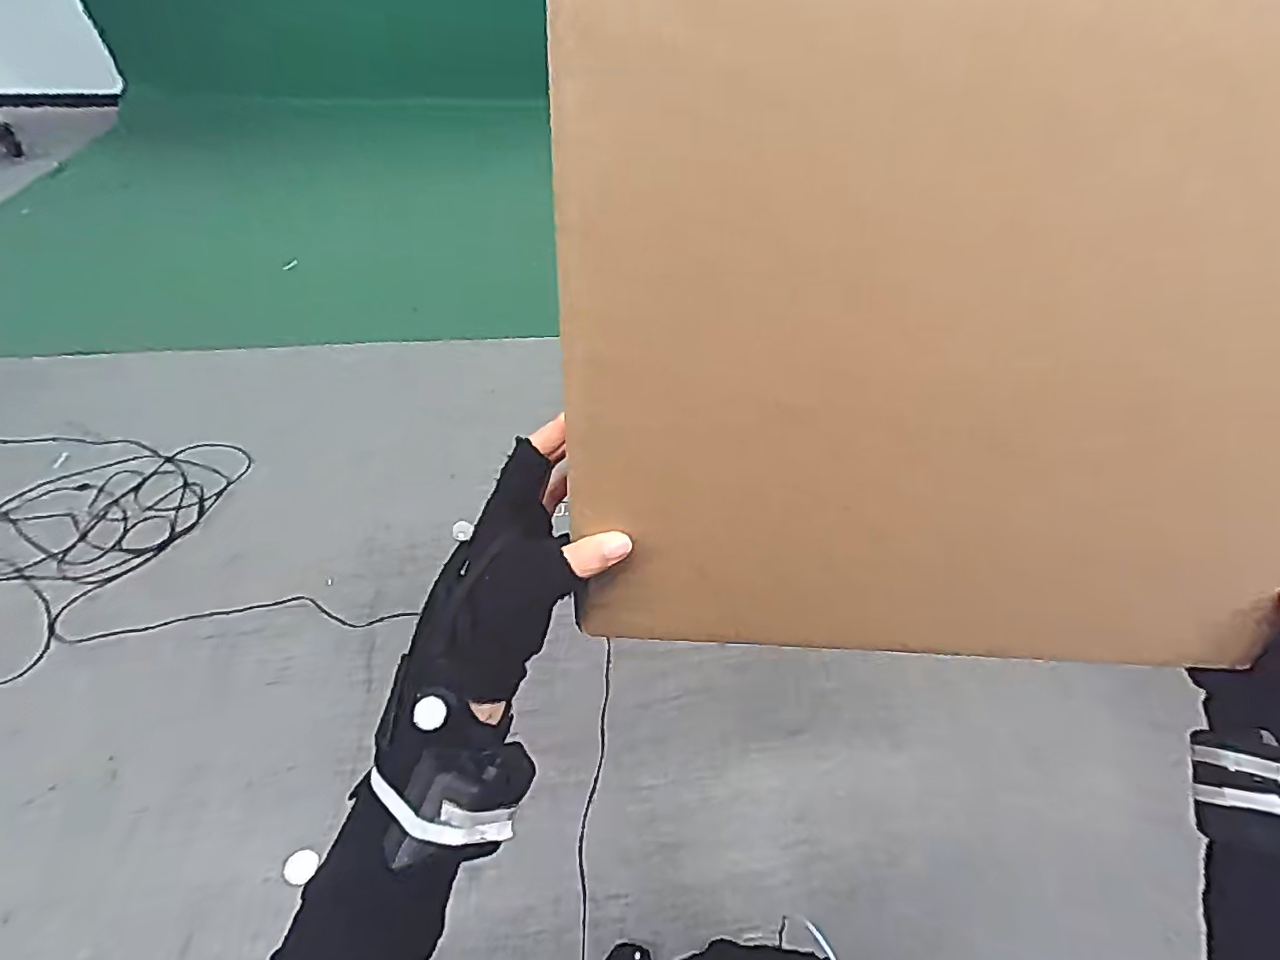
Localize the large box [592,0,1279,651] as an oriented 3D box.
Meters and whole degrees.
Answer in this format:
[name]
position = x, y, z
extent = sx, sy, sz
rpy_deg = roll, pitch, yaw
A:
[large box]
position = 0.176, -0.109, 0.353
extent = 0.408, 0.320, 0.320
rpy_deg = 3, 39, -2
